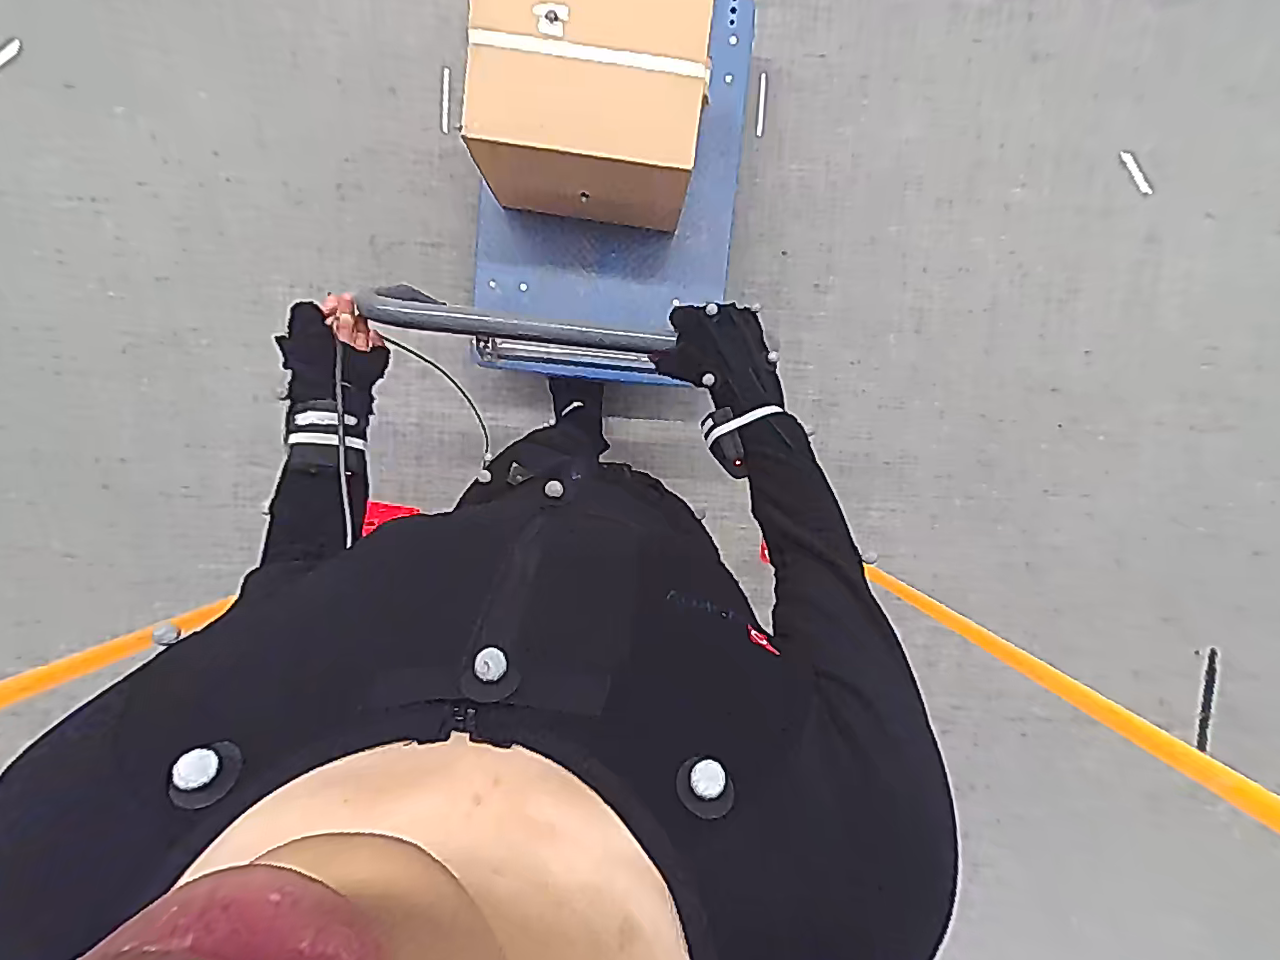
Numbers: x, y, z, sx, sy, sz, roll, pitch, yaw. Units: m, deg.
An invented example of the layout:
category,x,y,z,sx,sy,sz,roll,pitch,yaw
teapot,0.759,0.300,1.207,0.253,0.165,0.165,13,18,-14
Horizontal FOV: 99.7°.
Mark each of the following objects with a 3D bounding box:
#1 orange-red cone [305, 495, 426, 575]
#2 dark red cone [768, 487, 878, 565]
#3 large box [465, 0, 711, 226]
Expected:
category,x,y,z,sx,sy,sz,roll,pitch,yaw
orange-red cone,-0.679,0.162,1.285,0.198,0.360,0.199,11,94,-3
dark red cone,0.455,0.139,1.291,0.201,0.394,0.202,3,96,-4
large box,-0.090,-0.729,1.068,0.408,0.320,0.320,7,96,-2
